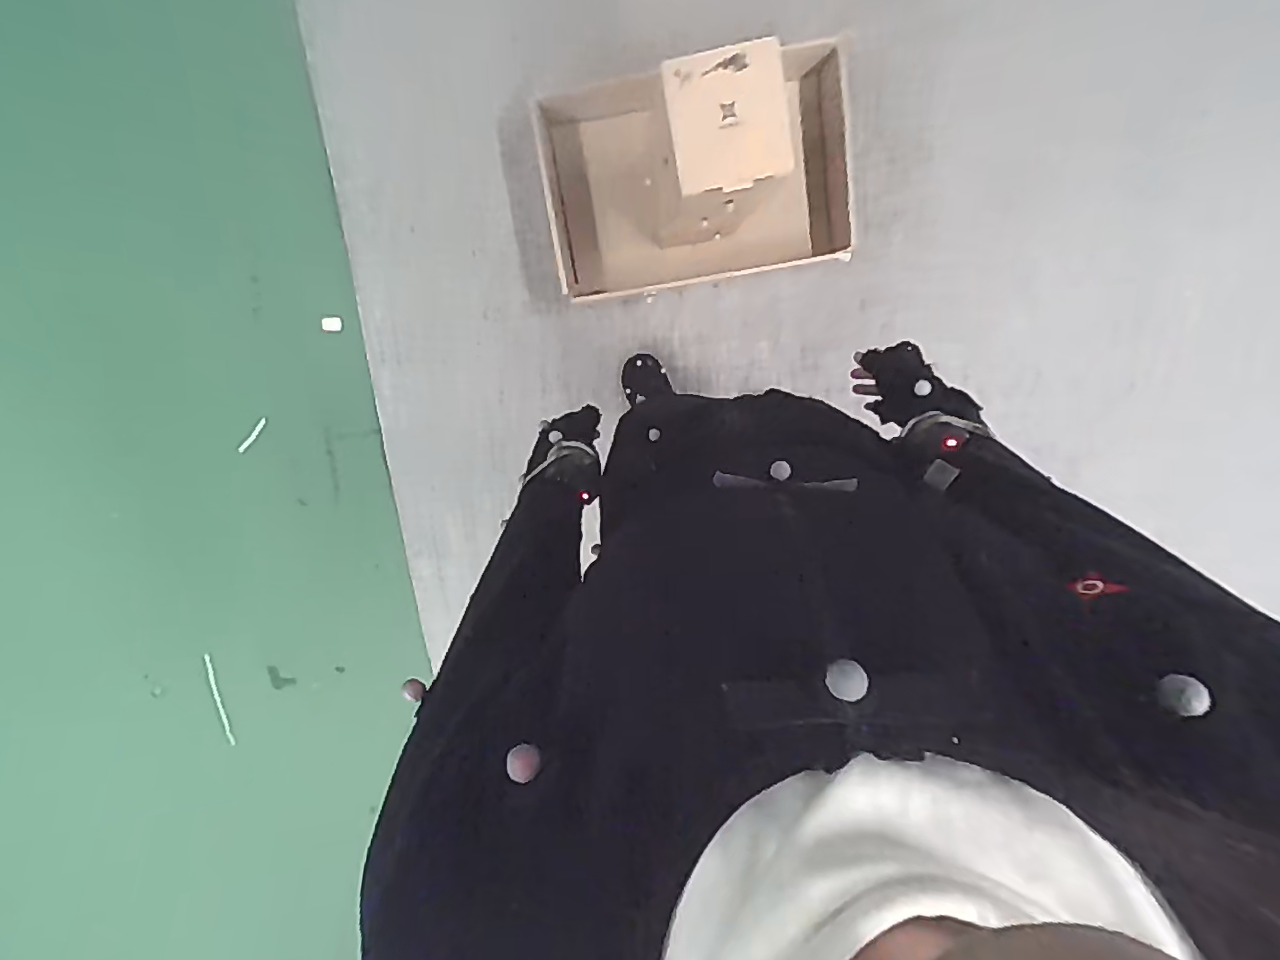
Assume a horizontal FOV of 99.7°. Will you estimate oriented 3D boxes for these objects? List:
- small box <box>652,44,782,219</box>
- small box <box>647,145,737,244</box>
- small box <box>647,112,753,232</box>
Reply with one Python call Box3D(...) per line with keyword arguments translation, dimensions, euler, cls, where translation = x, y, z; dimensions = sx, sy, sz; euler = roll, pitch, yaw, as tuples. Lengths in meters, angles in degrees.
Box3D(translation=(0.118, -0.533, 0.860), dimensions=(0.168, 0.176, 0.179), euler=(-12, 103, 4), cls="small box")
Box3D(translation=(0.110, -0.617, 1.157), dimensions=(0.168, 0.176, 0.179), euler=(-9, 102, 2), cls="small box")
Box3D(translation=(0.109, -0.577, 1.015), dimensions=(0.179, 0.176, 0.168), euler=(-7, 103, 3), cls="small box")
